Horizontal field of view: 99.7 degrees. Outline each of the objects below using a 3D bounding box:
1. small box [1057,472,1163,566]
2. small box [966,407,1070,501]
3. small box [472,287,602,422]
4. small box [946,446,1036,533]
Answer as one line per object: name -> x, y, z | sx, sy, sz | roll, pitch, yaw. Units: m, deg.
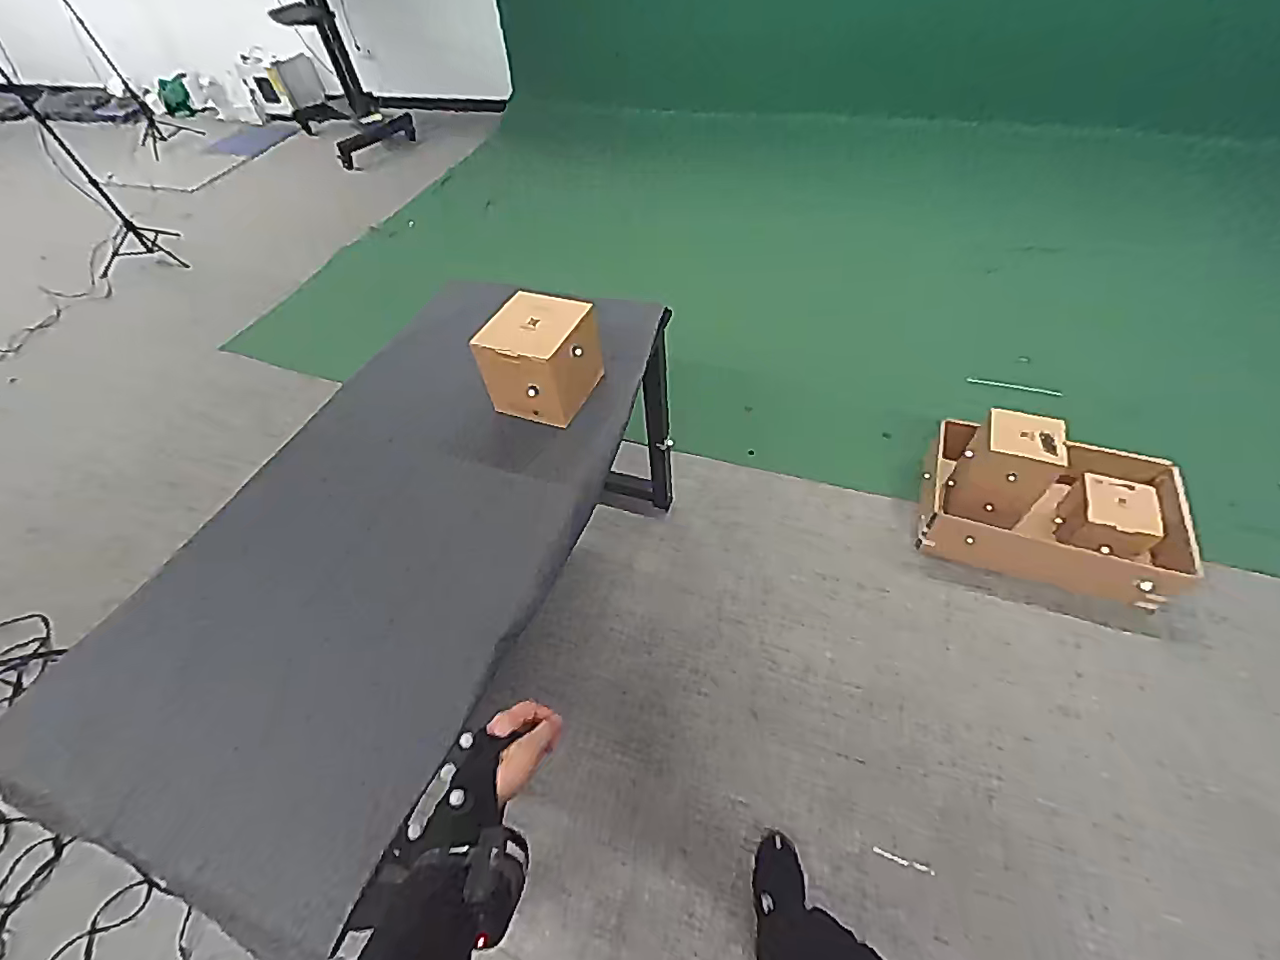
small box -> 1.289, 0.112, 1.495 | 0.168, 0.176, 0.179 | 16, 56, 18
small box -> 1.005, -0.066, 1.447 | 0.179, 0.176, 0.168 | 16, 55, 17
small box -> -0.183, -0.237, 1.032 | 0.168, 0.176, 0.179 | 16, 54, 18
small box -> 1.017, 0.032, 1.579 | 0.179, 0.176, 0.168 | 16, 56, 15
